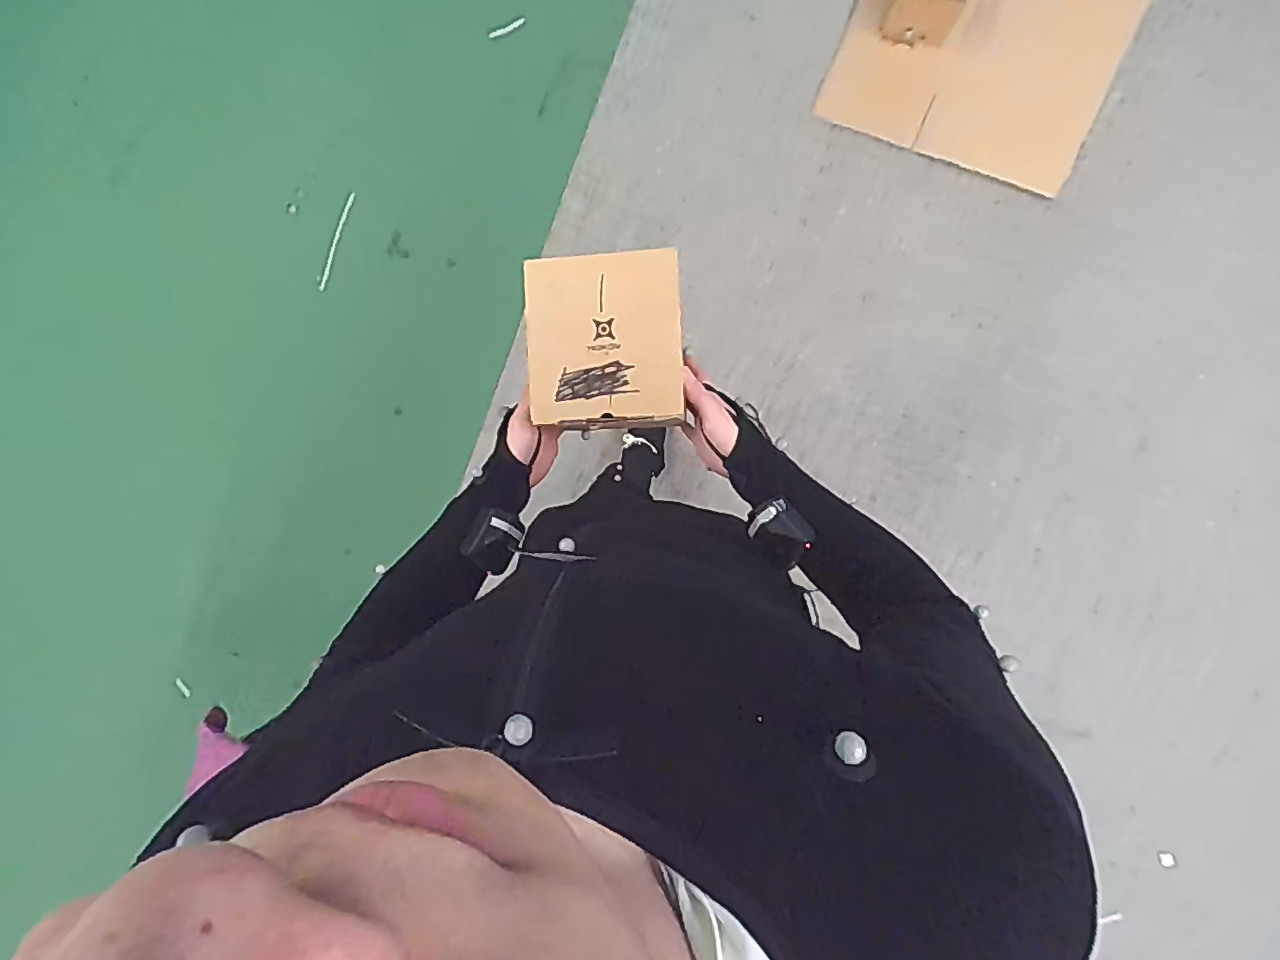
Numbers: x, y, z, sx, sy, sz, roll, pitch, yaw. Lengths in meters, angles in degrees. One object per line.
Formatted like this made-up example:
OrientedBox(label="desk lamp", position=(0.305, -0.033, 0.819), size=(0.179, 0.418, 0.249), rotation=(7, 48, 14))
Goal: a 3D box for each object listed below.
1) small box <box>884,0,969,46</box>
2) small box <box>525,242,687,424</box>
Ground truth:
OrientedBox(label="small box", position=(0.741, -1.254, 1.359), size=(0.168, 0.176, 0.179), rotation=(17, 96, 6))
OrientedBox(label="small box", position=(-0.029, -0.157, 0.639), size=(0.168, 0.176, 0.179), rotation=(-1, 92, 6))
